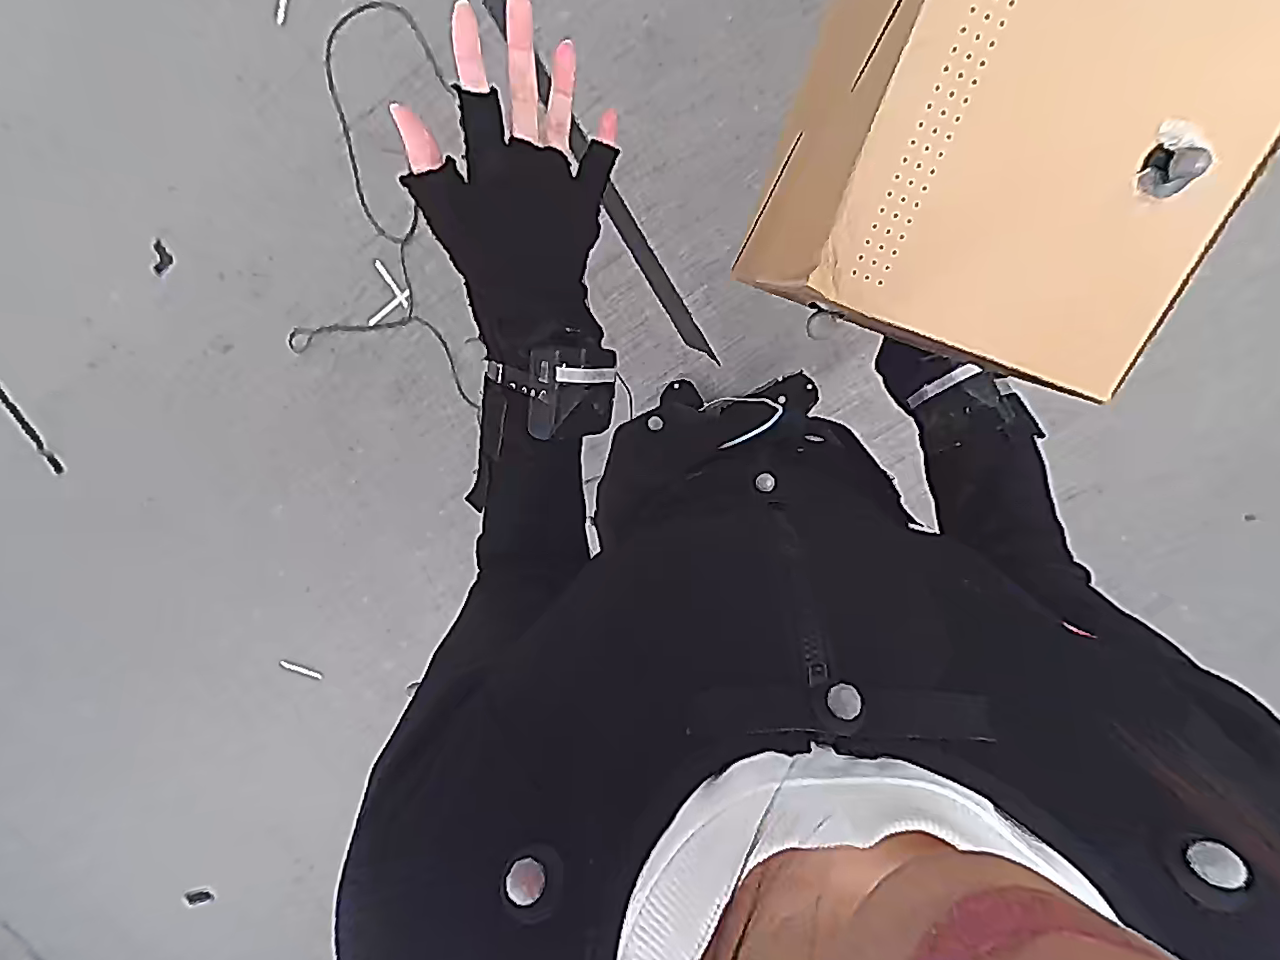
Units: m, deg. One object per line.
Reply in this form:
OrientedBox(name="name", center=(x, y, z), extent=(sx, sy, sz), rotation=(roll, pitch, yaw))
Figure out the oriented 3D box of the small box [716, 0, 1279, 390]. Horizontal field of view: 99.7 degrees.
OrientedBox(name="small box", center=(0.160, -0.170, 0.305), extent=(0.176, 0.168, 0.179), rotation=(16, 110, -8))
